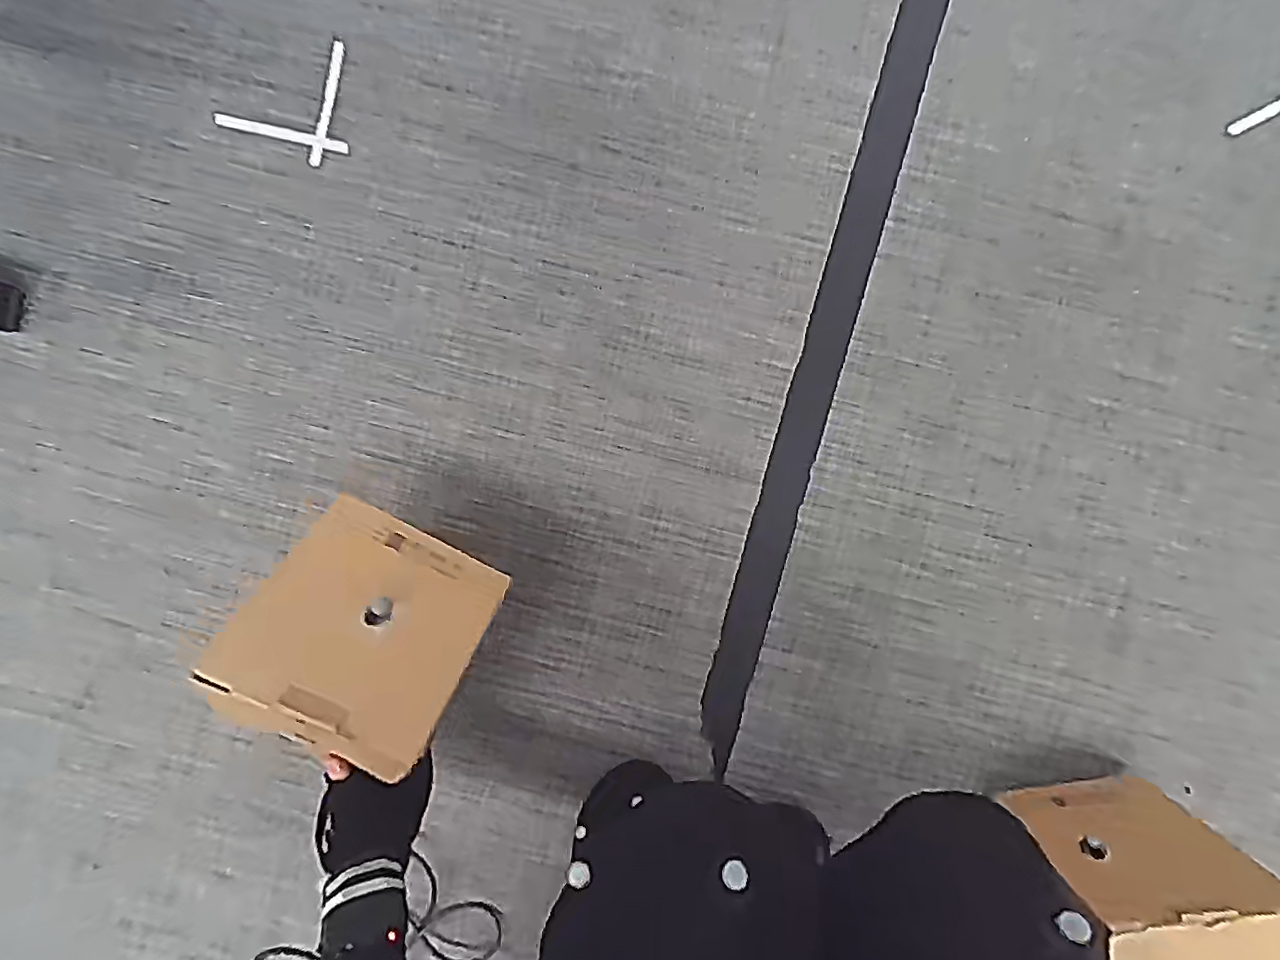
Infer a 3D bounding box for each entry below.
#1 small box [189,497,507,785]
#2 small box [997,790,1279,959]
[{"bbox_3d":[-0.239,0.144,0.479,0.168,0.179,0.176,31,50,-10],"label":"small box"},{"bbox_3d":[0.478,0.429,0.521,0.168,0.176,0.179,-10,97,4],"label":"small box"}]
